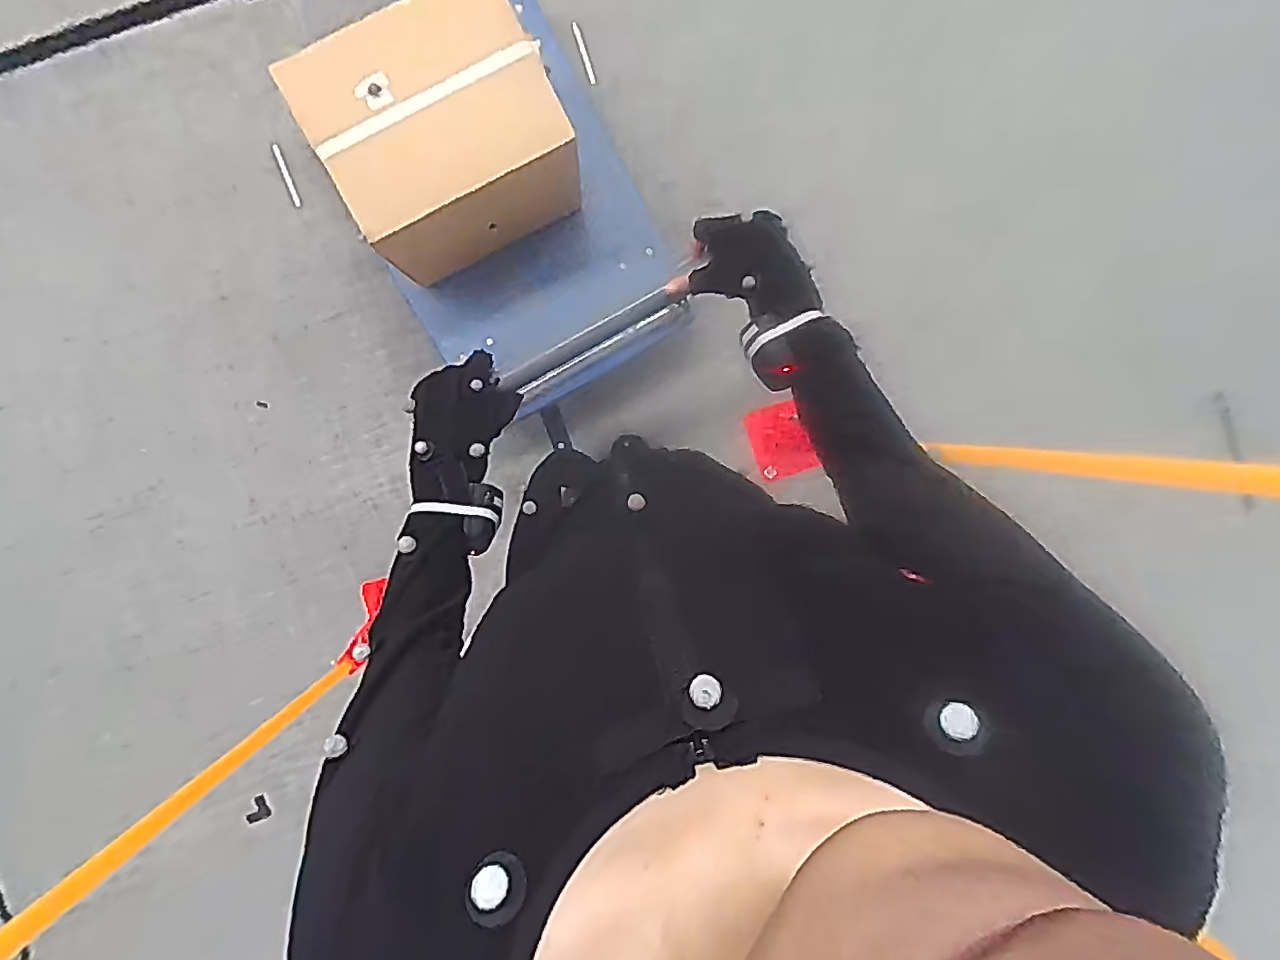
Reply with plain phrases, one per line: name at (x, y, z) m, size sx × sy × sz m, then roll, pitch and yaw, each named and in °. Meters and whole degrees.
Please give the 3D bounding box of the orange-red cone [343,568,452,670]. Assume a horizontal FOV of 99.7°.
orange-red cone at (-0.608, 0.360, 1.287) m, size 0.198 × 0.360 × 0.199 m, roll -13°, pitch 95°, yaw -3°

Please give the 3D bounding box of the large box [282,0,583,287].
large box at (-0.361, -0.641, 1.063) m, size 0.408 × 0.320 × 0.320 m, roll -28°, pitch 97°, yaw 0°

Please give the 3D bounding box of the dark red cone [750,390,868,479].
dark red cone at (0.426, -0.107, 1.288) m, size 0.201 × 0.394 × 0.202 m, roll -20°, pitch 97°, yaw -3°
